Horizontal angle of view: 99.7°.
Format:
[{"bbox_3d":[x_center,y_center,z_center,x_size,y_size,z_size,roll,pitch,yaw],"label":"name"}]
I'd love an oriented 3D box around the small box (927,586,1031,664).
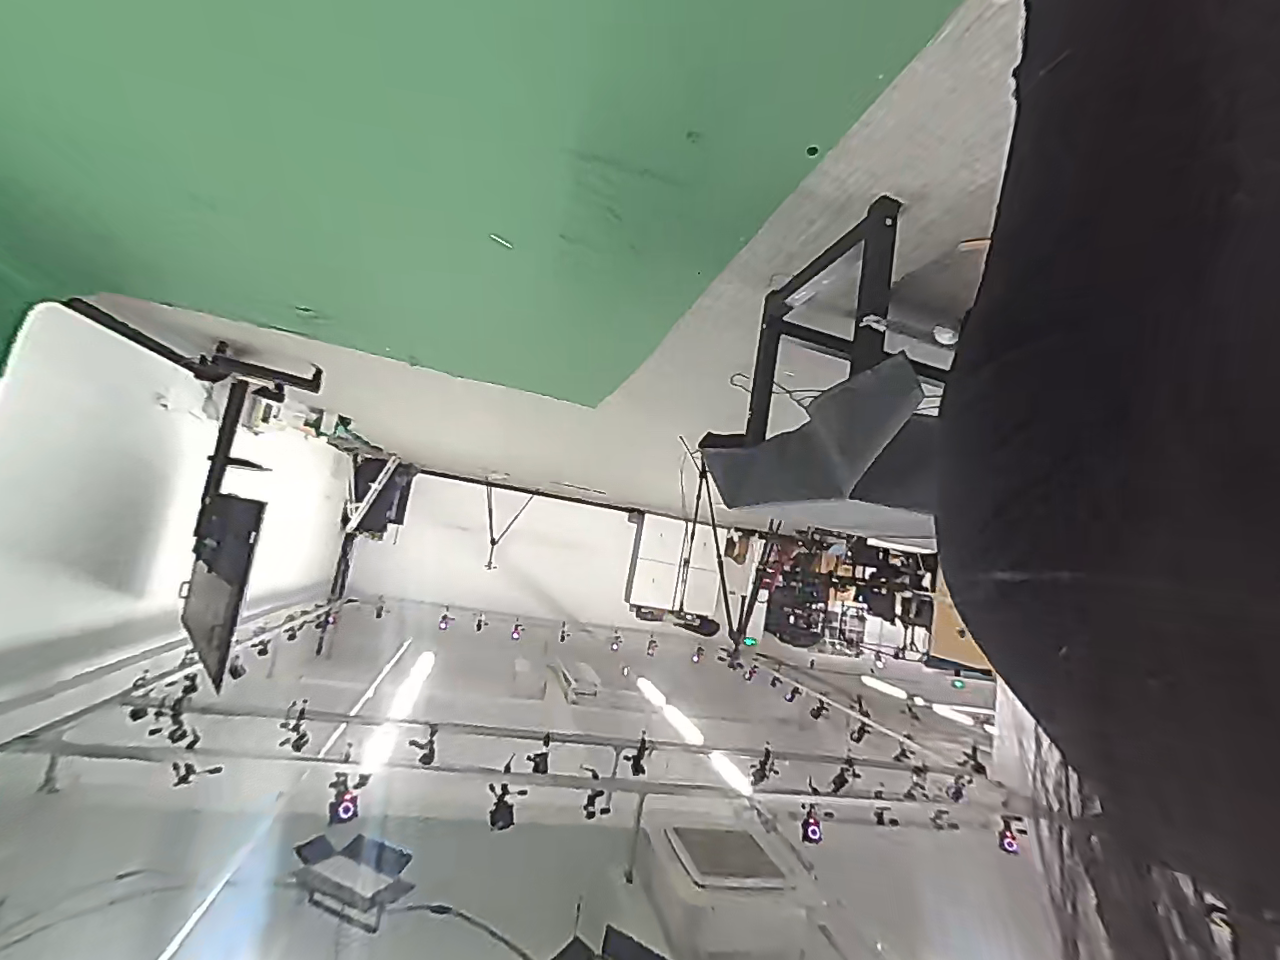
[{"bbox_3d":[0.909,0.384,1.455,0.179,0.176,0.168,11,172,-14],"label":"small box"}]
